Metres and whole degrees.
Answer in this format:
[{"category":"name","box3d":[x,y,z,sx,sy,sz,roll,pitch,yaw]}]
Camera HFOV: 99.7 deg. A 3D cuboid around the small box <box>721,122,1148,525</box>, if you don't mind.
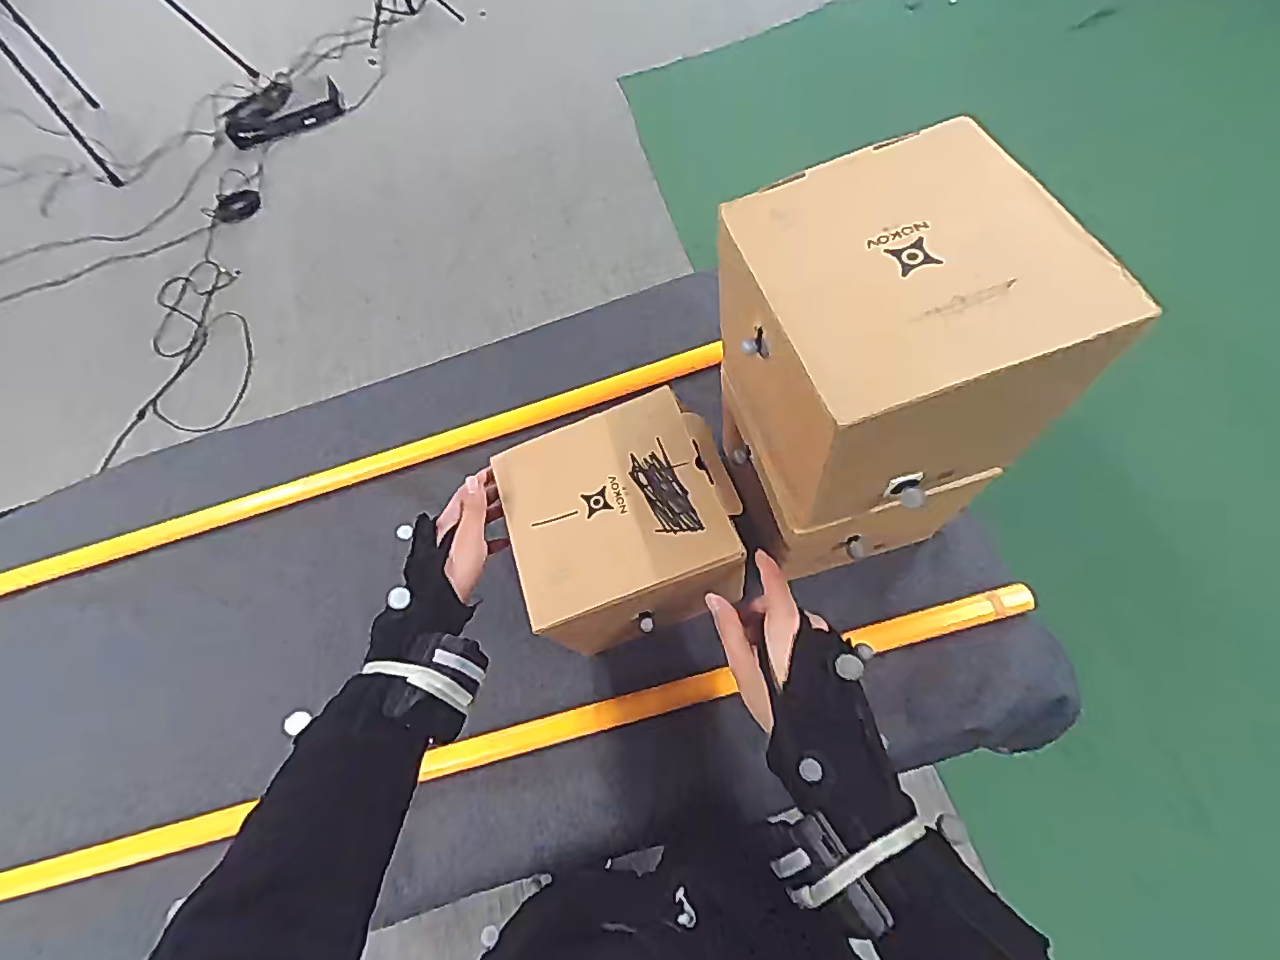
[{"category":"small box","box3d":[0.162,-0.093,0.375,0.168,0.176,0.179,-20,64,2]}]
